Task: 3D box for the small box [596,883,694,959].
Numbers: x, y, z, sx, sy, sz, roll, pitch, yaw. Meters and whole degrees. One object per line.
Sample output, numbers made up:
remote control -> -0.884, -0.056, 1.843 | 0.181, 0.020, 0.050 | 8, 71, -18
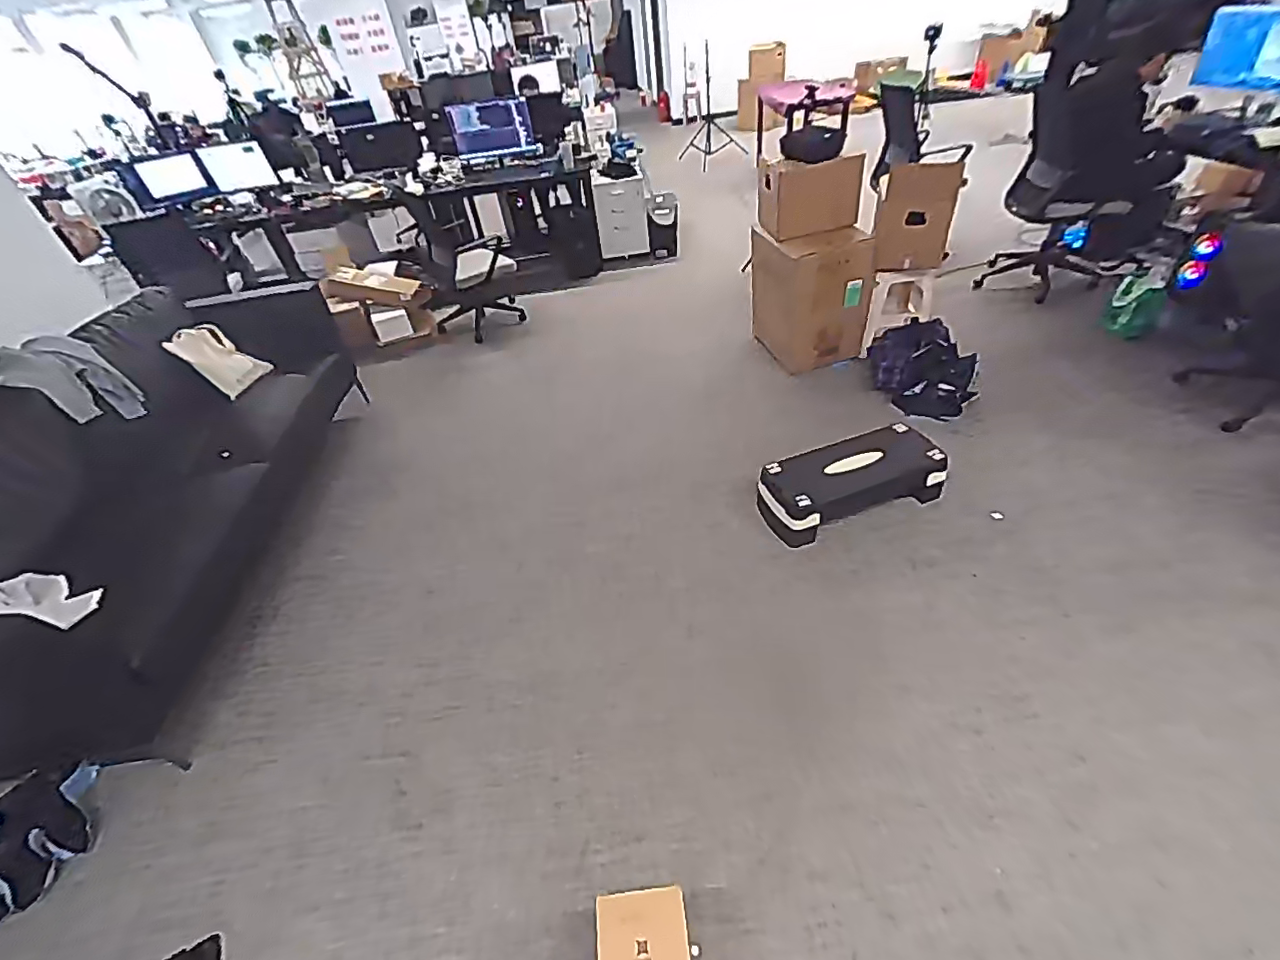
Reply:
small box -> 0.014, 0.885, 1.005 | 0.168, 0.176, 0.179 | -8, 39, 0
